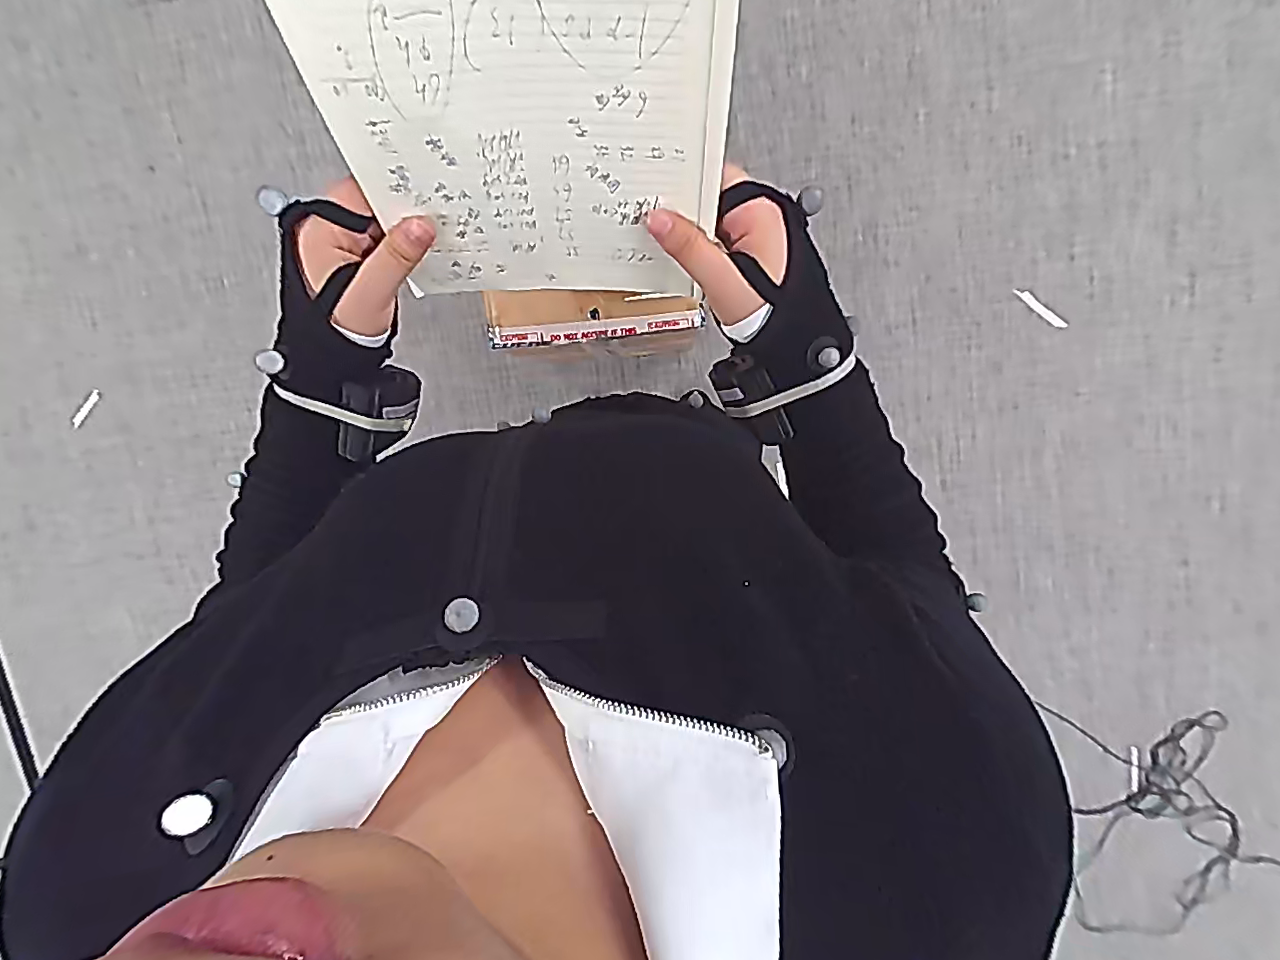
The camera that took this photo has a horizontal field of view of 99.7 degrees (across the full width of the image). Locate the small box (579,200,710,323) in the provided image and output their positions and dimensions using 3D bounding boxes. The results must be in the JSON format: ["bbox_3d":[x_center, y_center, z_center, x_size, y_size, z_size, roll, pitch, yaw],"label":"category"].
[{"bbox_3d":[0.007,-0.357,0.871,0.179,0.176,0.168,-9,99,2],"label":"small box"}]

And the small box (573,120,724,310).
[{"bbox_3d":[0.010,-0.331,0.709,0.168,0.176,0.179,-6,100,1],"label":"small box"}]
